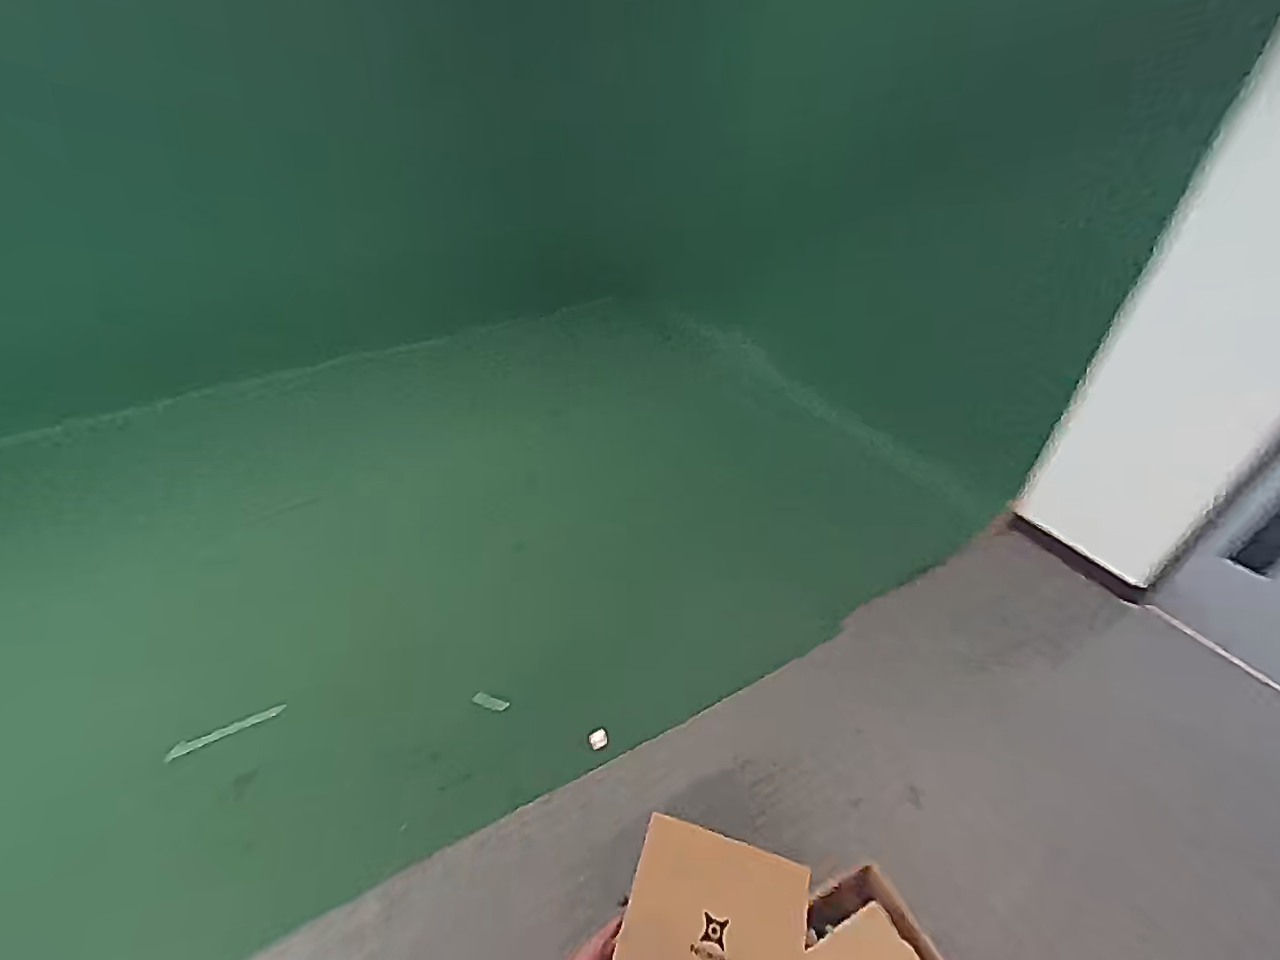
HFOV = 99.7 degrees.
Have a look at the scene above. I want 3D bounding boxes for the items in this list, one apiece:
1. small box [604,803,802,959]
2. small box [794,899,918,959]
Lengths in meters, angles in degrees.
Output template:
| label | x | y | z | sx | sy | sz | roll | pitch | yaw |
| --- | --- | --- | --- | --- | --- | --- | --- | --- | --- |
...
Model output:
| label | x | y | z | sx | sy | sz | roll | pitch | yaw |
| --- | --- | --- | --- | --- | --- | --- | --- | --- | --- |
| small box | 0.058 | 0.473 | 0.552 | 0.168 | 0.176 | 0.179 | 13 | 45 | 12 |
| small box | 0.331 | 0.787 | 0.820 | 0.179 | 0.176 | 0.168 | -18 | 43 | -17 |
